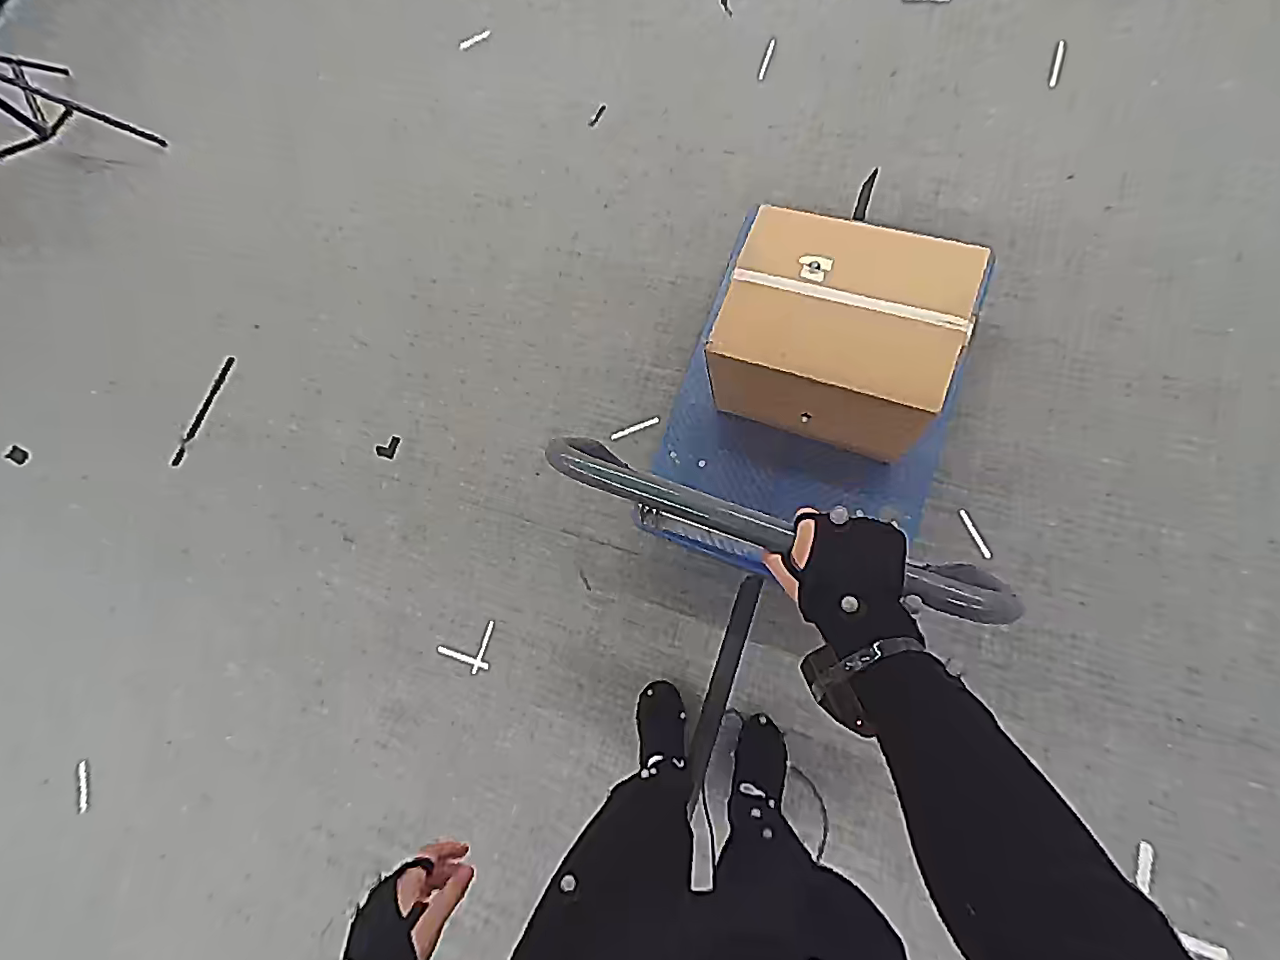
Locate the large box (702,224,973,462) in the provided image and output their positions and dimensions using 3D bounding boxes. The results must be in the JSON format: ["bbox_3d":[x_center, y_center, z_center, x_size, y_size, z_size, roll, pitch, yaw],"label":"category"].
[{"bbox_3d":[0.381,-0.265,1.108,0.408,0.320,0.320,19,80,16],"label":"large box"}]
